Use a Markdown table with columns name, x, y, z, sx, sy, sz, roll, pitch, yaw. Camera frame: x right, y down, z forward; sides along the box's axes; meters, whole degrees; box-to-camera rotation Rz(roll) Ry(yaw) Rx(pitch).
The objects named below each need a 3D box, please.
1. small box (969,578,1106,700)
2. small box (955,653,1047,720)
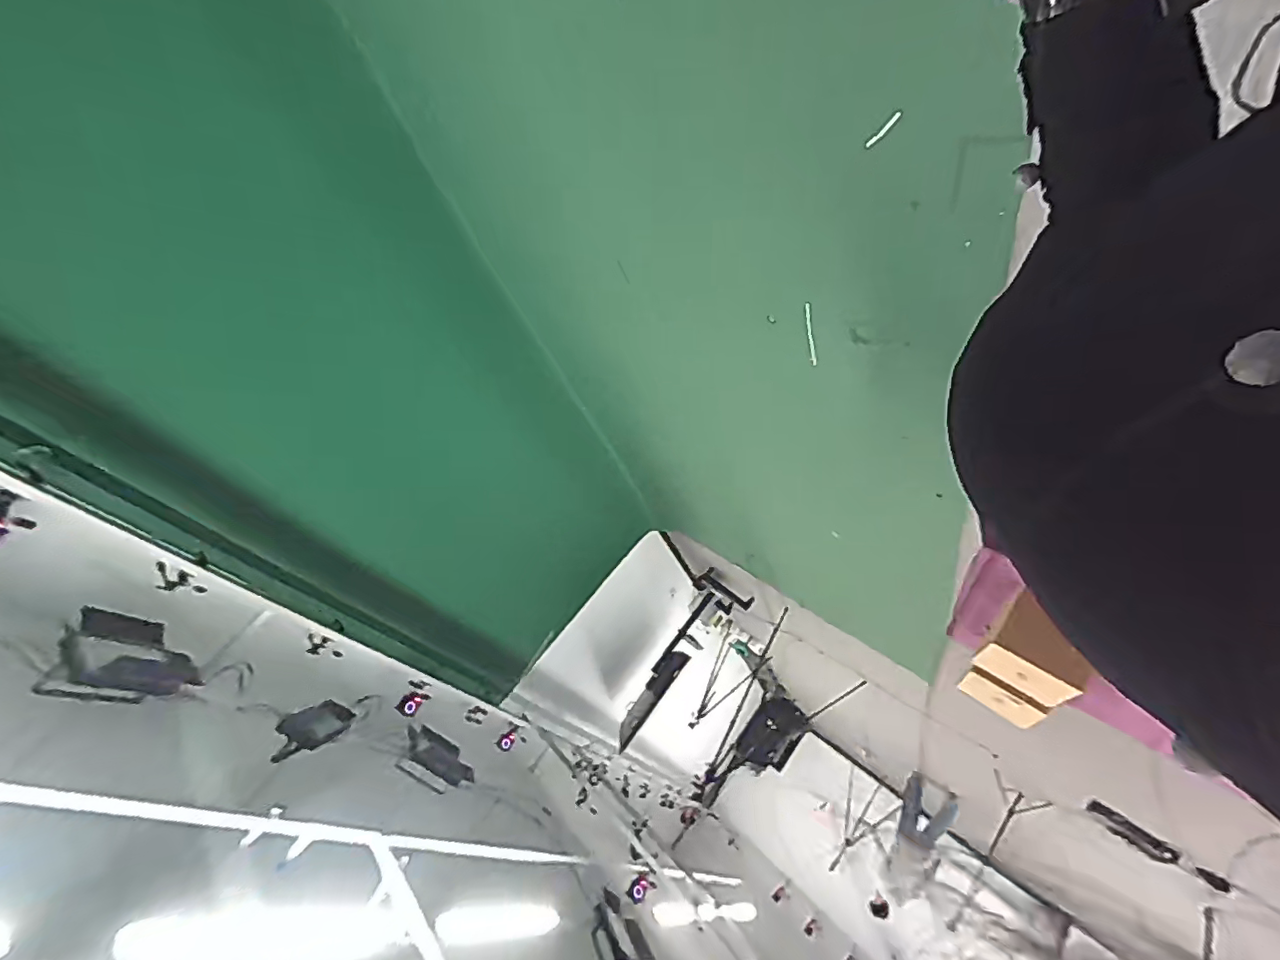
| name | x | y | z | sx | sy | sz | roll | pitch | yaw |
| --- | --- | --- | --- | --- | --- | --- | --- | --- | --- |
| small box | 0.855 | 0.342 | 1.169 | 0.168 | 0.176 | 0.179 | 31 | 162 | 28 |
| small box | 0.922 | 0.463 | 1.346 | 0.168 | 0.176 | 0.179 | 30 | 162 | 31 |
